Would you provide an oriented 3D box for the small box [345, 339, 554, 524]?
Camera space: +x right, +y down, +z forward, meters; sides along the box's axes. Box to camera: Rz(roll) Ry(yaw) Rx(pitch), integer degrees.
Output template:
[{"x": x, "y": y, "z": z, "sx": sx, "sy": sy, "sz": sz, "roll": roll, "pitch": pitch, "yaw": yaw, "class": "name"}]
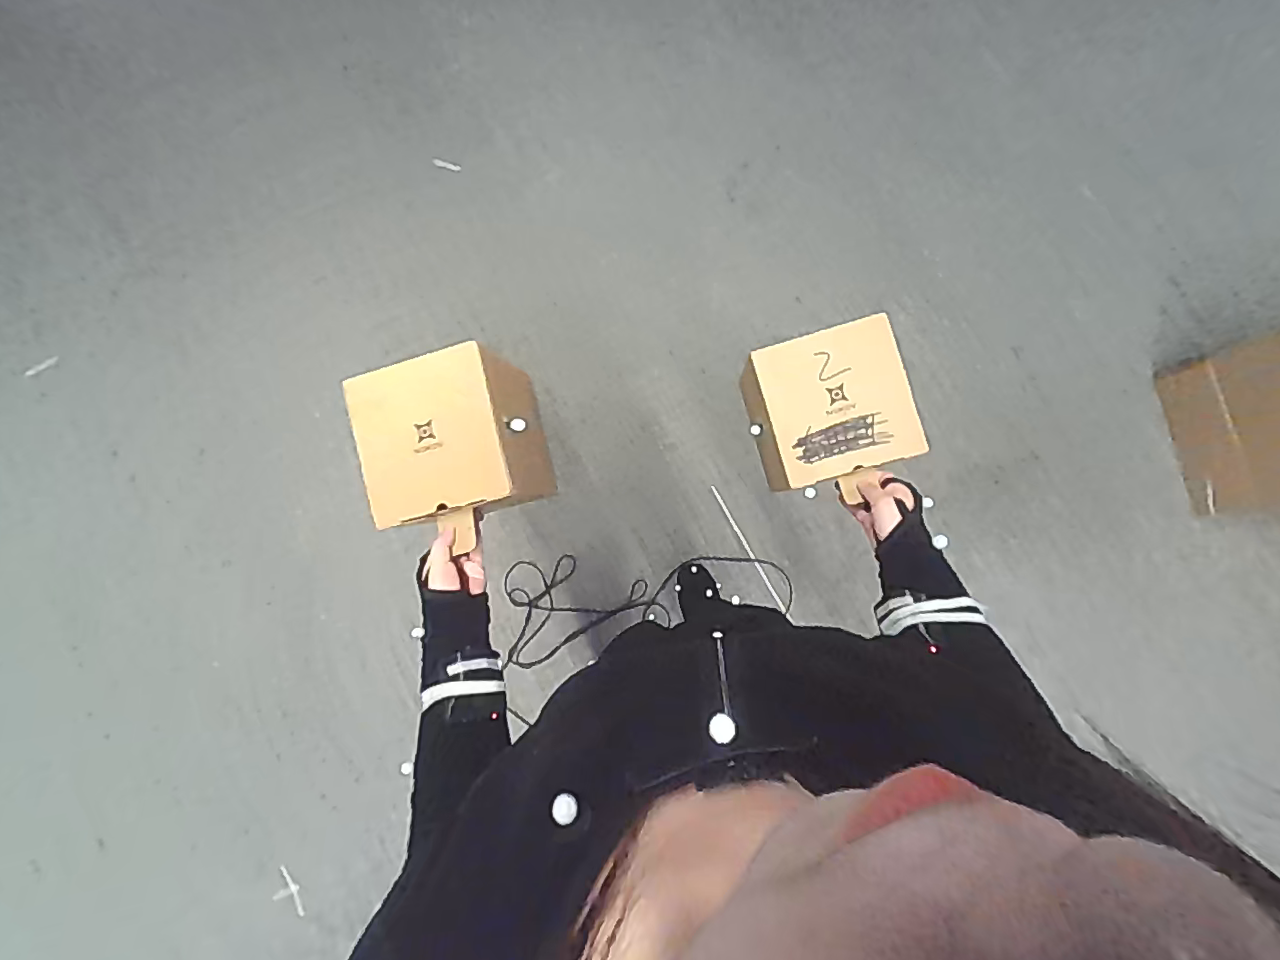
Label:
[{"x": -0.224, "y": -0.052, "z": 0.674, "sx": 0.168, "sy": 0.176, "sz": 0.179, "roll": -15, "pitch": 88, "yaw": 9, "class": "small box"}]
